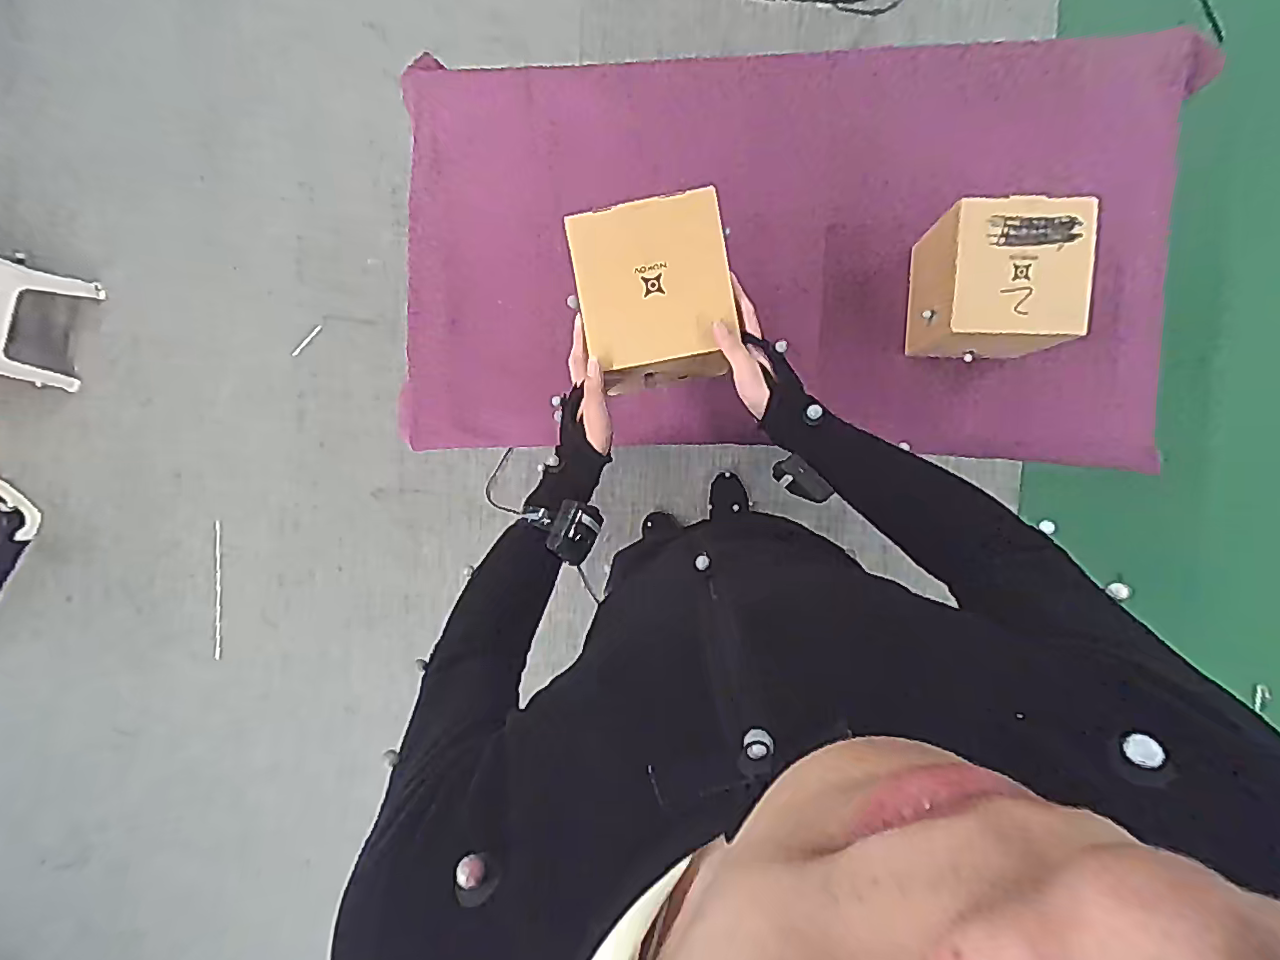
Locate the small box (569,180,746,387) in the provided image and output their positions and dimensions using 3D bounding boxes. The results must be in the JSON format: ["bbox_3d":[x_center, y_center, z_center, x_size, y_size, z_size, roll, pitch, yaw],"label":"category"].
[{"bbox_3d":[0.024,-0.215,0.647,0.168,0.176,0.179,-11,89,4],"label":"small box"}]
